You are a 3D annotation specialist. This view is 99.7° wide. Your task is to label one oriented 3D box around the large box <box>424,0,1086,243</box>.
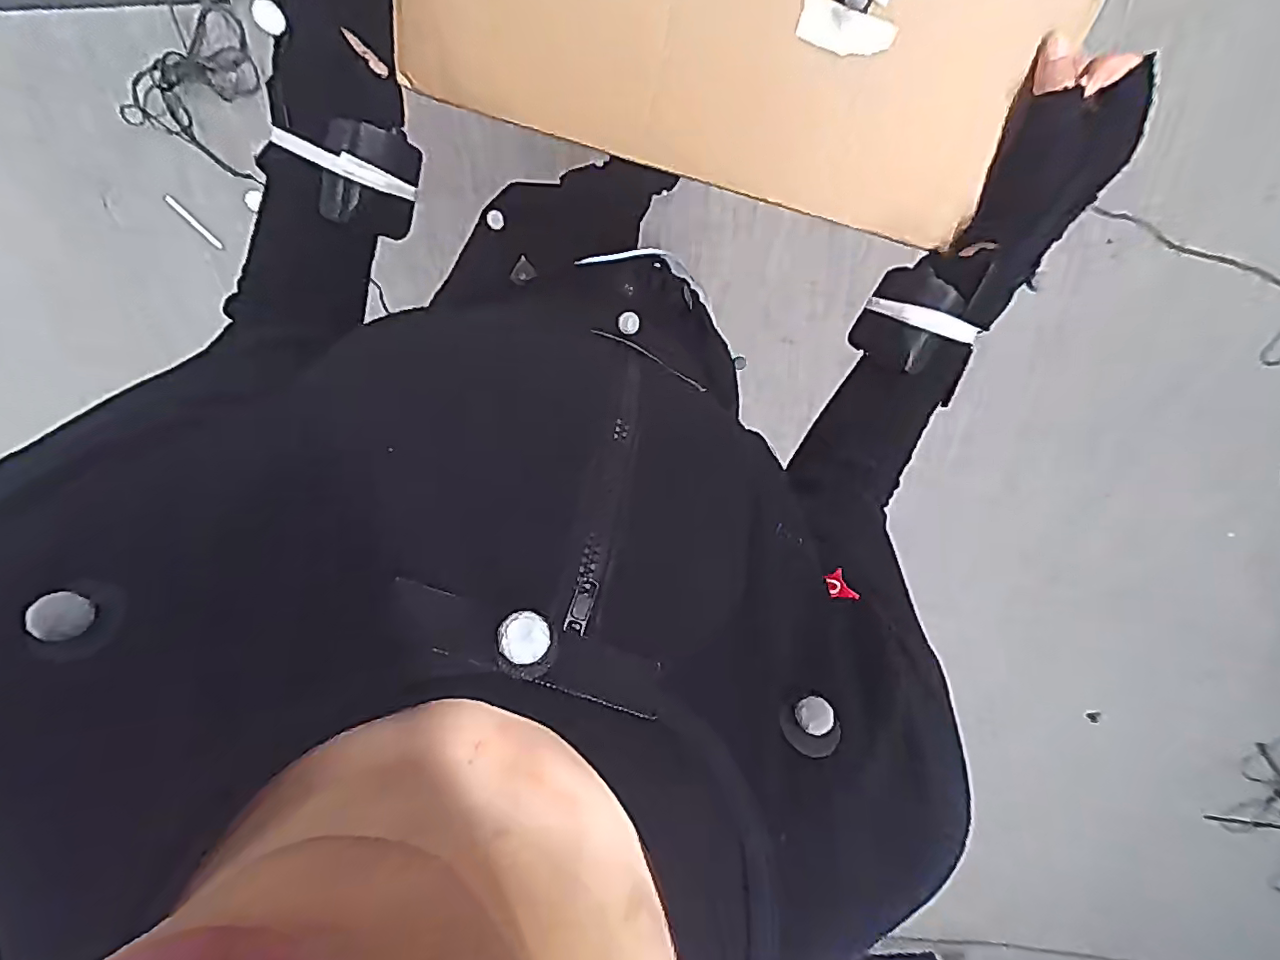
[{"bbox_3d":[0.087,-0.425,0.425,0.408,0.320,0.320,14,125,-6],"label":"large box"}]
